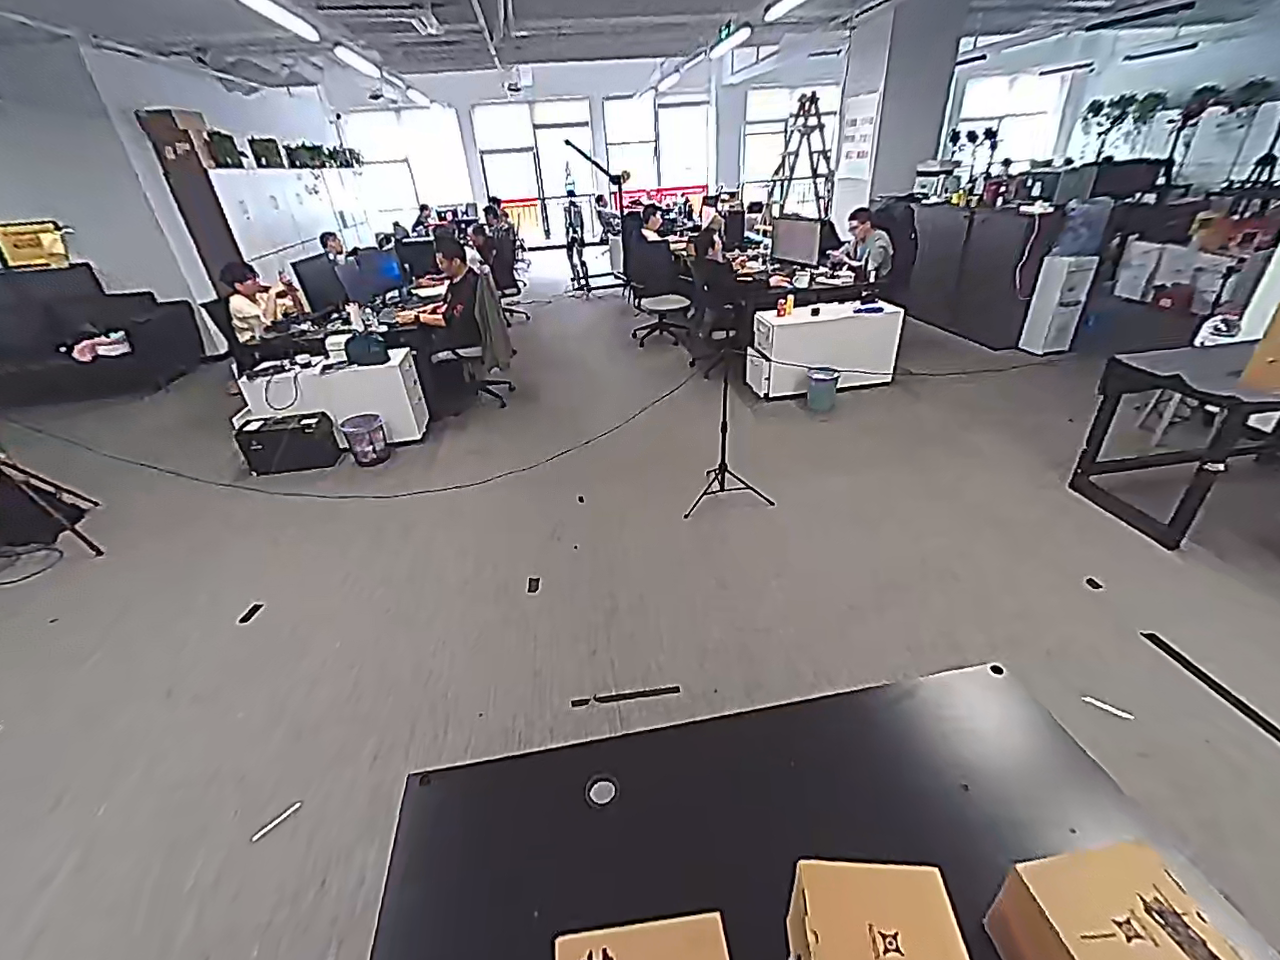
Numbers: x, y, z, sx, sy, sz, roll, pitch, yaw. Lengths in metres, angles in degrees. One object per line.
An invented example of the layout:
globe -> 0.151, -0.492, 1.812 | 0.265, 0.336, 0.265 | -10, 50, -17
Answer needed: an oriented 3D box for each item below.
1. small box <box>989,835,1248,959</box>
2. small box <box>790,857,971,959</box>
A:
small box -> 0.568, 0.571, 0.652 | 0.179, 0.176, 0.168 | -8, 30, -4
small box -> 0.288, 0.594, 0.658 | 0.179, 0.176, 0.168 | -2, 30, 6
